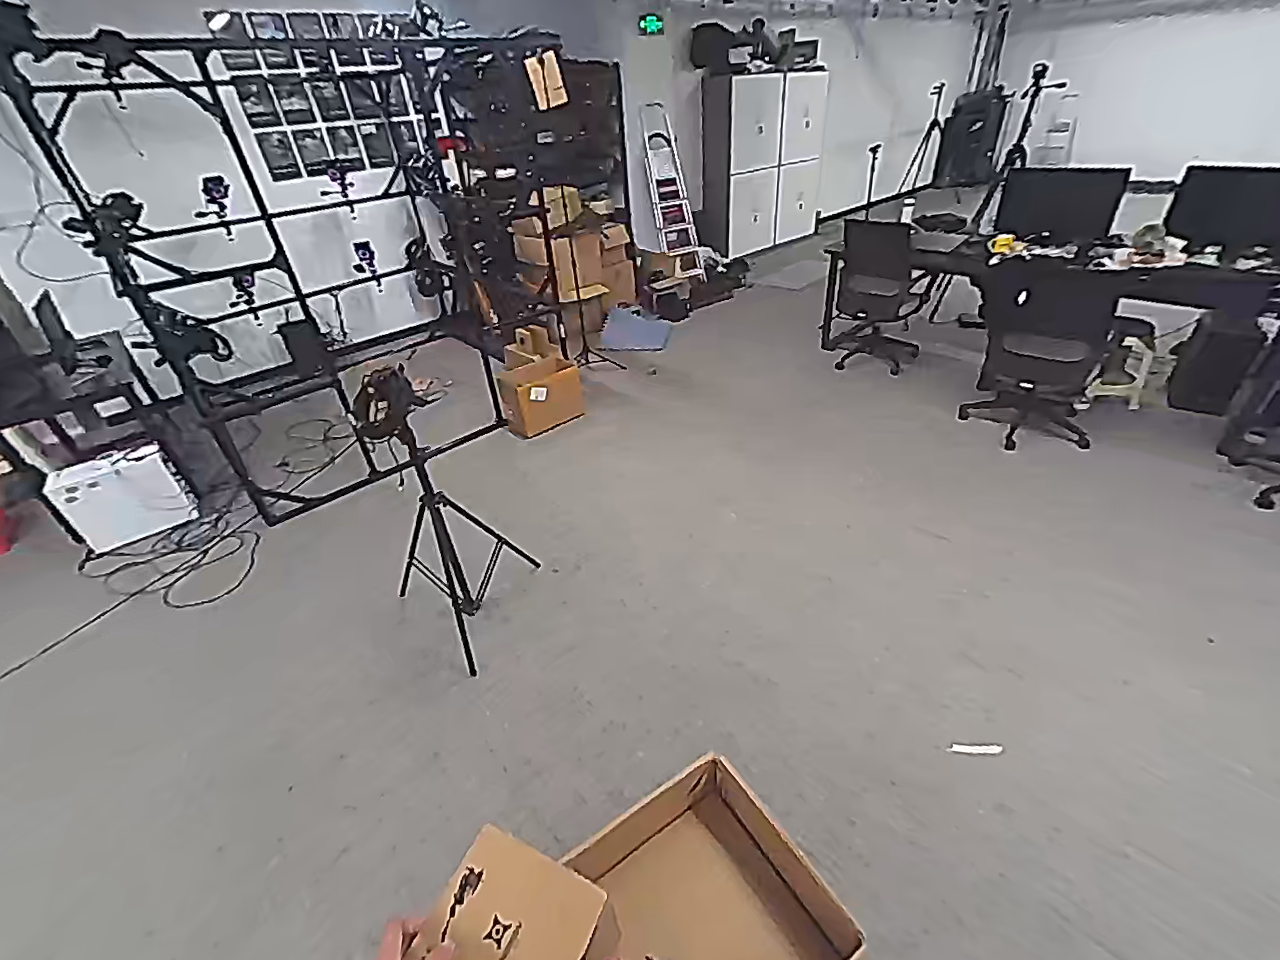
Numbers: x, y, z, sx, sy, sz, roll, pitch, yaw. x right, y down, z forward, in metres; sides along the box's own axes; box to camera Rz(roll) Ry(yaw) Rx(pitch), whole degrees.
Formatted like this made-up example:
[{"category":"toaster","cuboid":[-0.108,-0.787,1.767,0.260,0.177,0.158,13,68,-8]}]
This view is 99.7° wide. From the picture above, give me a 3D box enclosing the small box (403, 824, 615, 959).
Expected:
[{"category":"small box","cuboid":[-0.140,0.545,0.623,0.179,0.176,0.168,14,43,21]}]
